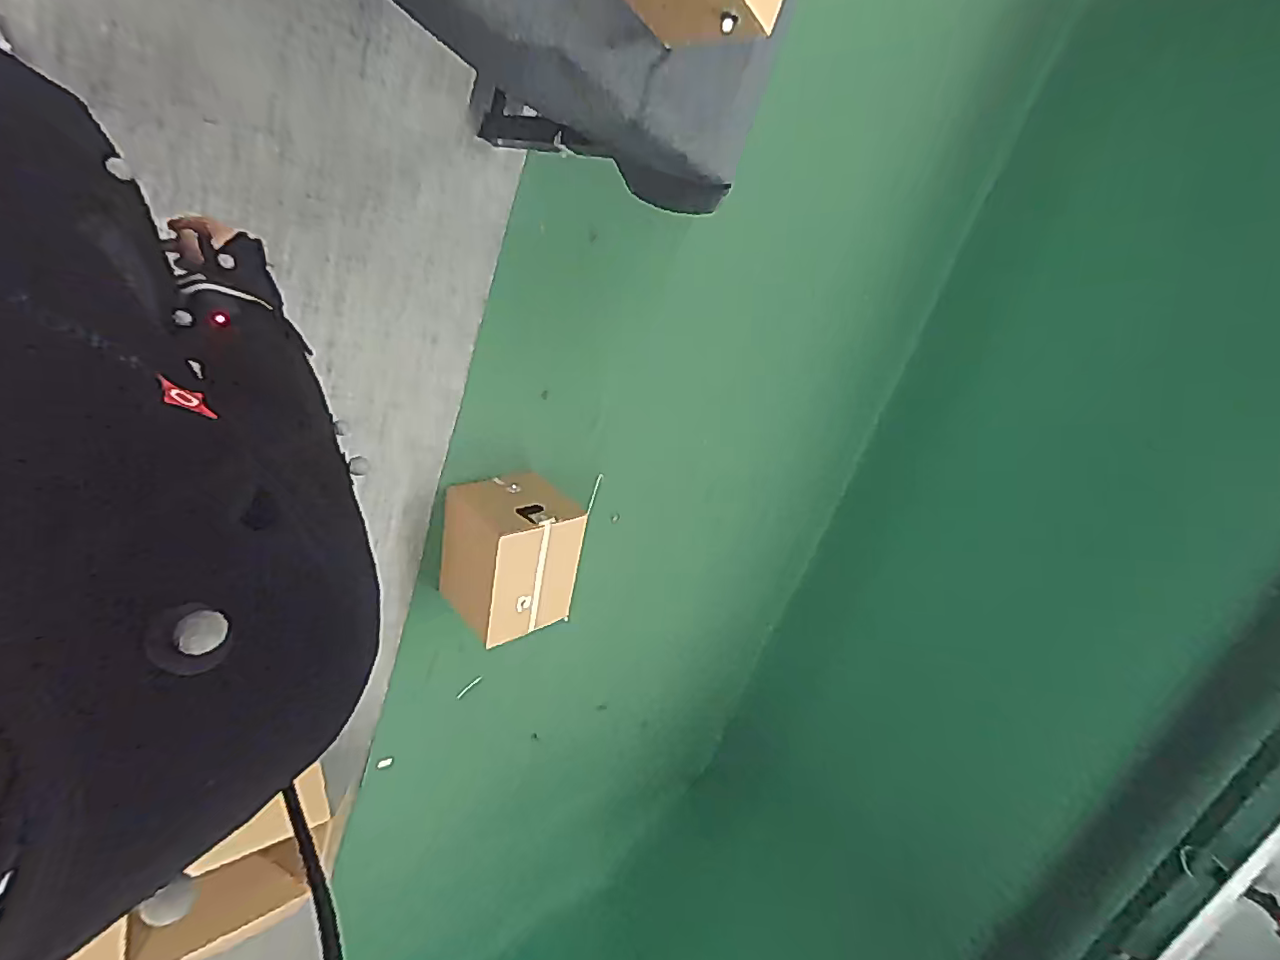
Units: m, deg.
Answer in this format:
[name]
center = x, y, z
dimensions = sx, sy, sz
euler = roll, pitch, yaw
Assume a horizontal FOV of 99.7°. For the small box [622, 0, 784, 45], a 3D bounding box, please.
[small box]
center = 0.060, -0.597, 0.567
dimensions = 0.179, 0.176, 0.168
euler = 5, 111, -50
